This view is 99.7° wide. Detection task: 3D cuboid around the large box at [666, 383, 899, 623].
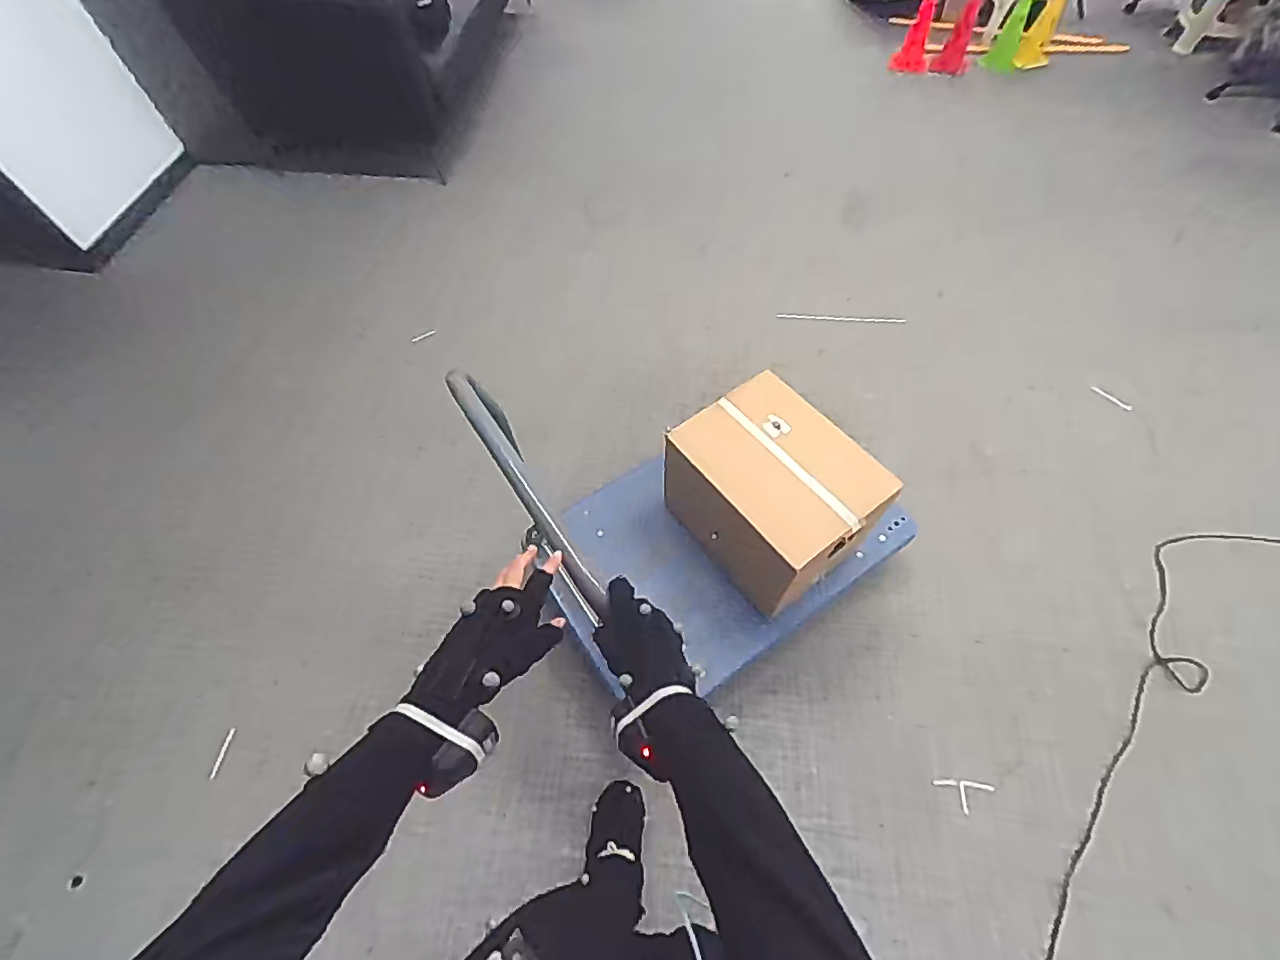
[{"bbox_3d":[0.302,0.055,1.277,0.320,0.320,0.408,-32,61,-19],"label":"large box"}]
